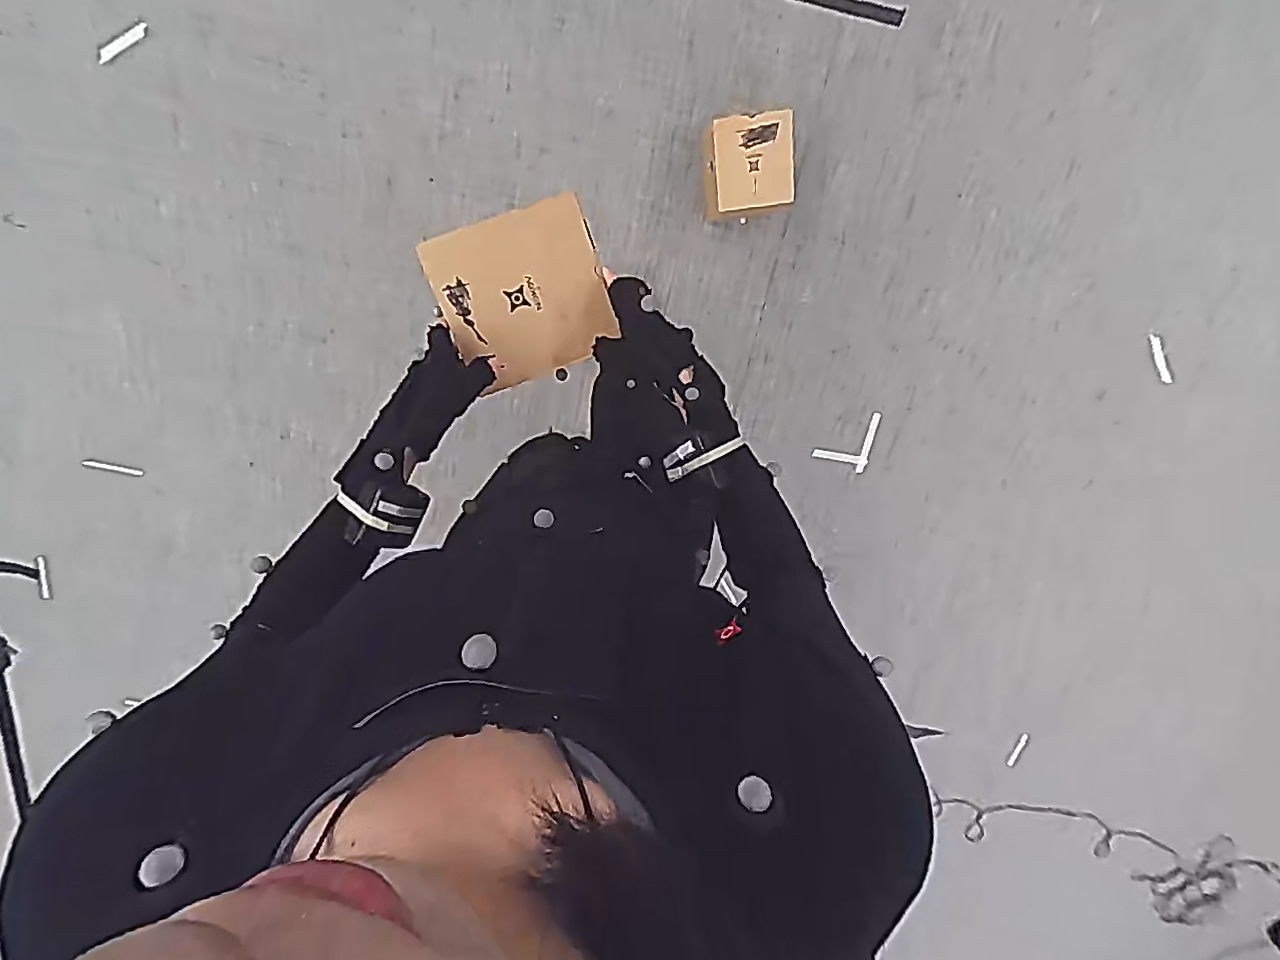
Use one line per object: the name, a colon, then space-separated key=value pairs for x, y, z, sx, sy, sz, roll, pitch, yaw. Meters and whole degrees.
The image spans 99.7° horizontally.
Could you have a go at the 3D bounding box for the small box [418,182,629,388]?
small box: x=-0.127 y=-0.218 z=0.638 sx=0.179 sy=0.176 sz=0.168 roll=-20 pitch=104 yaw=-2

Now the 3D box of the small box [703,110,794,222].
small box: x=0.235 y=-0.688 z=1.203 sx=0.168 sy=0.176 sz=0.179 roll=-7 pitch=109 yaw=1
